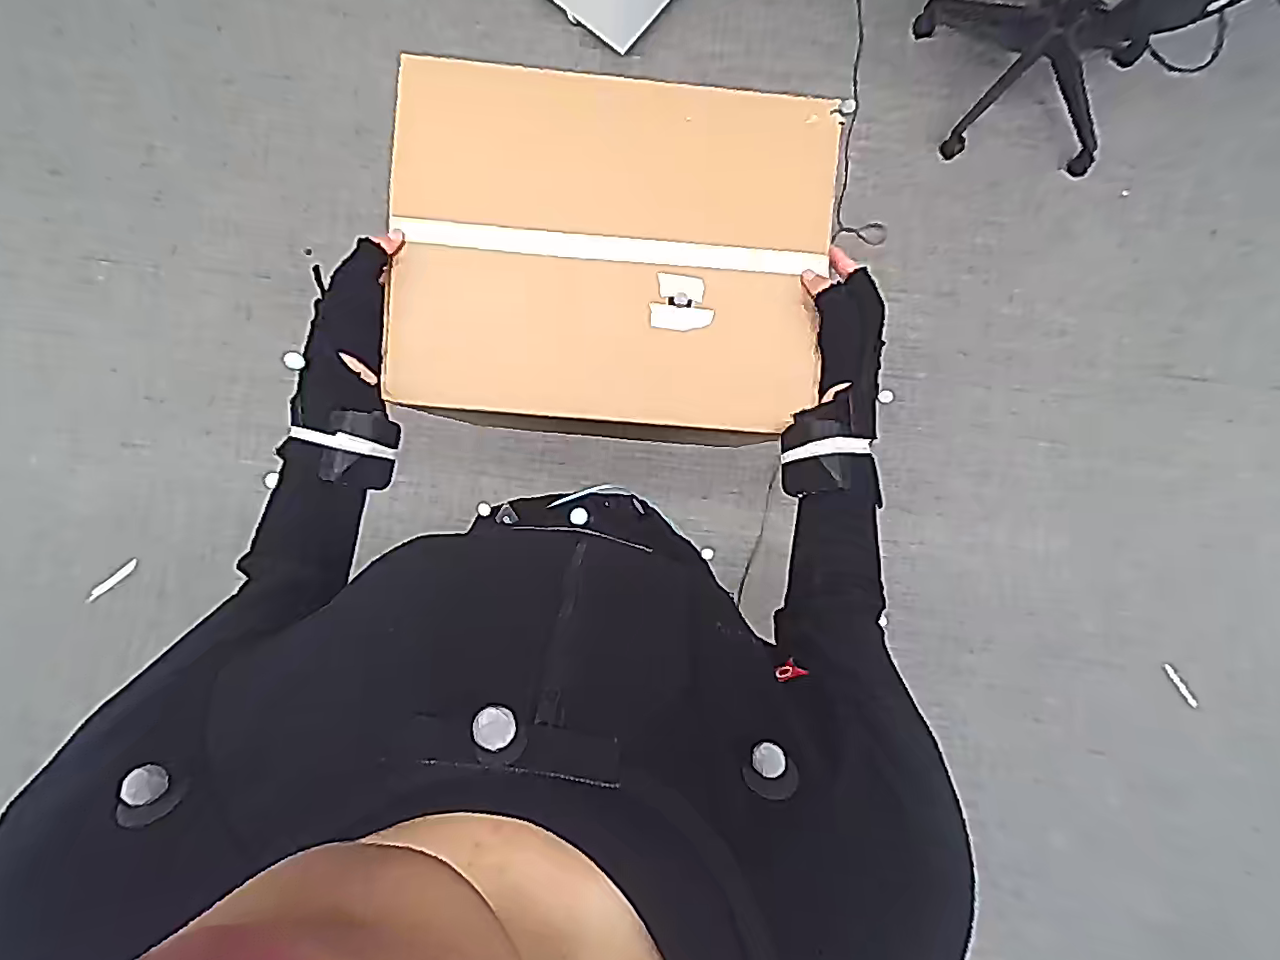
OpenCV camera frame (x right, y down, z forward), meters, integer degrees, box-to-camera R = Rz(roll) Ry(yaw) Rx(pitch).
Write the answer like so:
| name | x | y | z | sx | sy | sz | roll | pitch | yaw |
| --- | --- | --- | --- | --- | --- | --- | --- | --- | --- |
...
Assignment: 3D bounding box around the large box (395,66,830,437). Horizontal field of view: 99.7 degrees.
| name | x | y | z | sx | sy | sz | roll | pitch | yaw |
| --- | --- | --- | --- | --- | --- | --- | --- | --- | --- |
| large box | -0.033 | -0.224 | 0.661 | 0.408 | 0.320 | 0.320 | 5 | 93 | -3 |
